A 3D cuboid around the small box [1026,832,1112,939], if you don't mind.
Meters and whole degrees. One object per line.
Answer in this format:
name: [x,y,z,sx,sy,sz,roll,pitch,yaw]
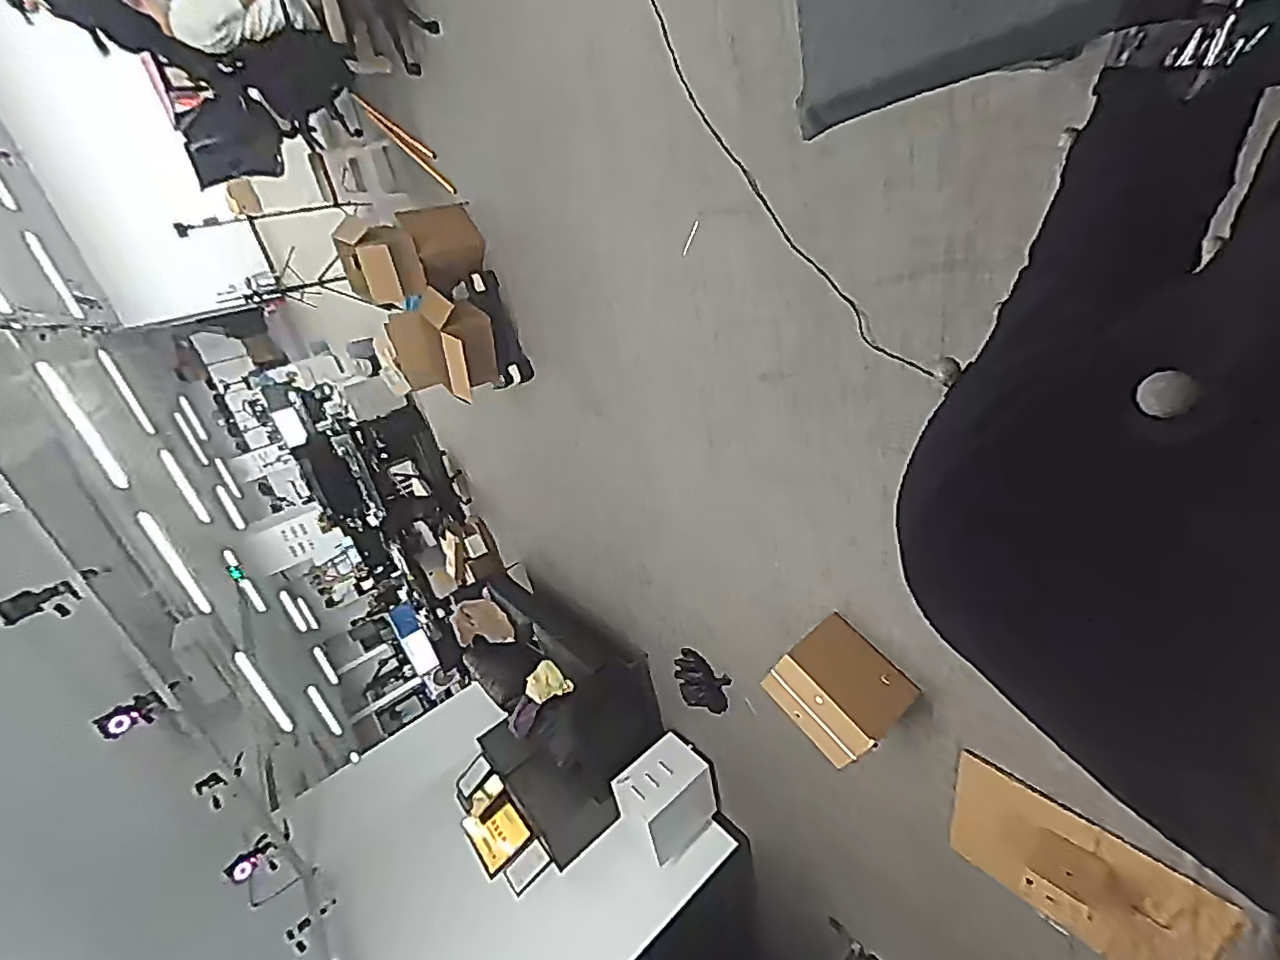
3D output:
small box: [1.348,1.260,1.696,0.179,0.176,0.168,15,128,51]
